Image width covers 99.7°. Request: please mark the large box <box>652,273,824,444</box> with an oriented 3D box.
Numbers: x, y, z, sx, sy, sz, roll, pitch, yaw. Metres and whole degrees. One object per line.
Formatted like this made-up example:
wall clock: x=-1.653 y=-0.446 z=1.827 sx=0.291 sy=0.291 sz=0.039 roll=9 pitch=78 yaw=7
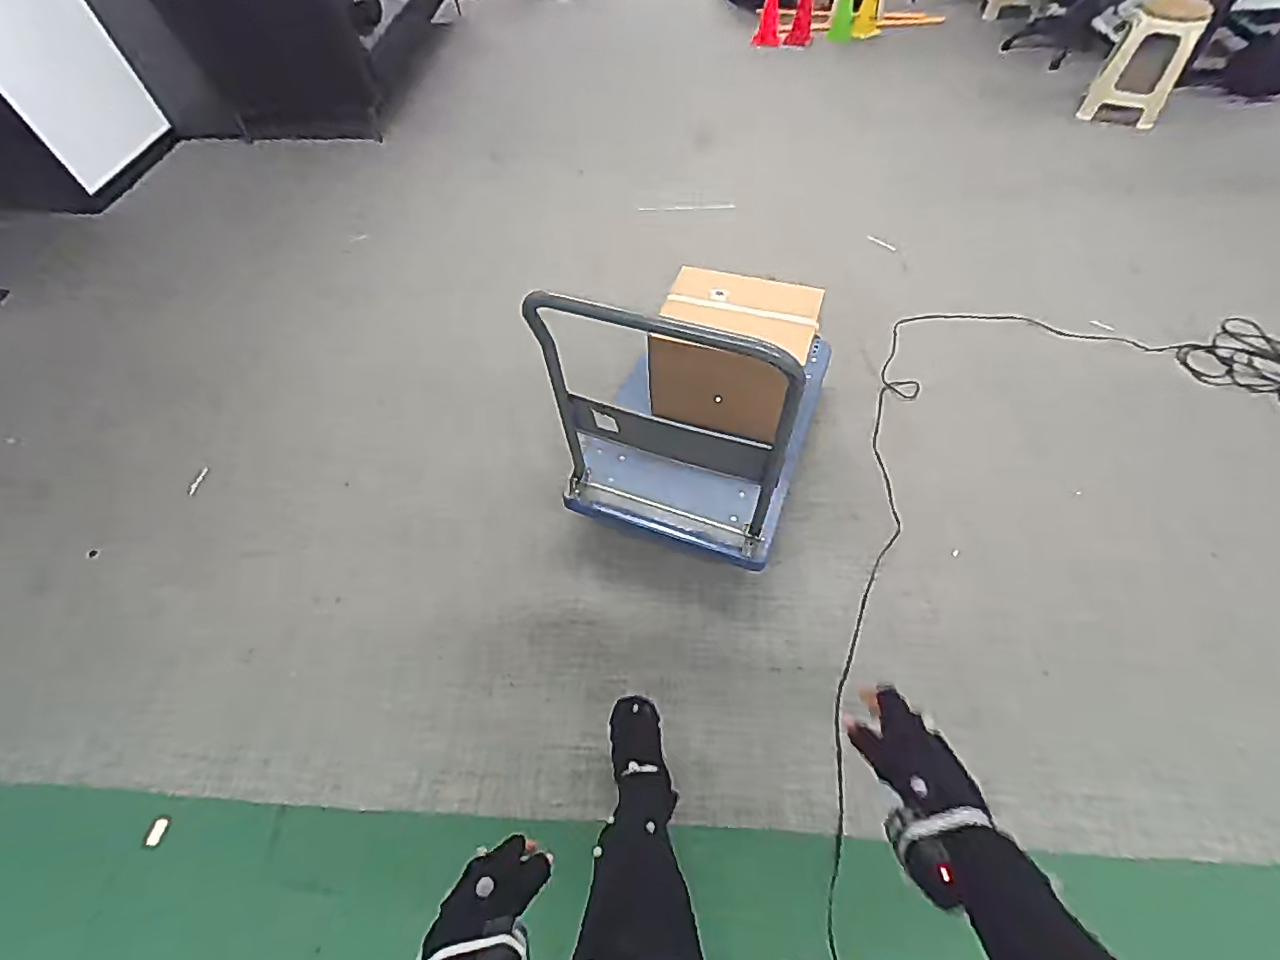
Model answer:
large box: x=0.277 y=-0.347 z=1.558 sx=0.408 sy=0.320 sz=0.320 roll=15 pitch=57 yaw=14
